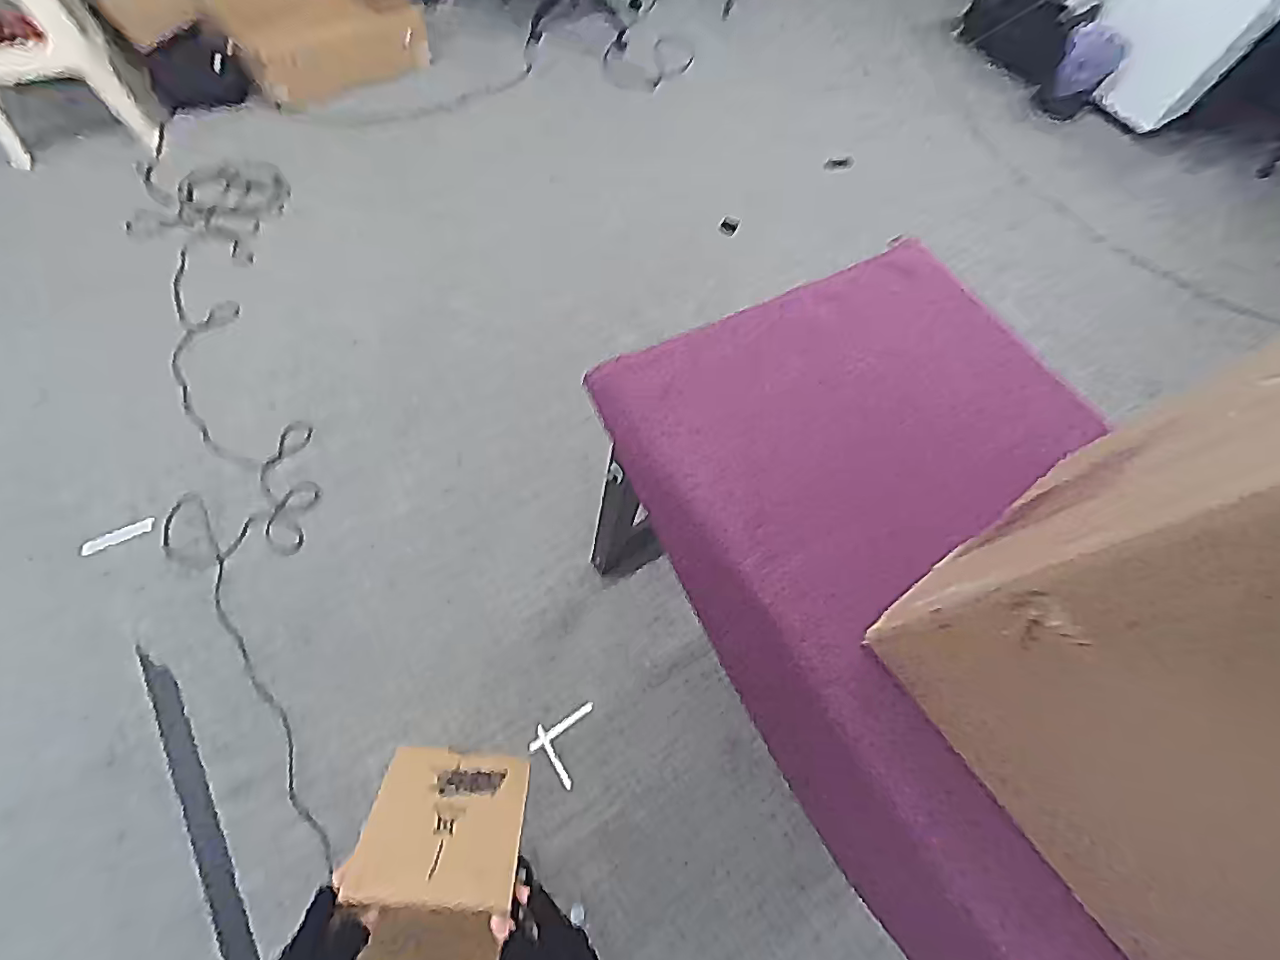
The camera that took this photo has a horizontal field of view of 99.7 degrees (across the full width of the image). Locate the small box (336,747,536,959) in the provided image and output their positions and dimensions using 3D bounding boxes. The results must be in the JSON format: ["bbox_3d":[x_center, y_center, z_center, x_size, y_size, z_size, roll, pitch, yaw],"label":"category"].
[{"bbox_3d":[-0.222,0.441,0.606,0.168,0.176,0.179,12,21,-8],"label":"small box"}]
